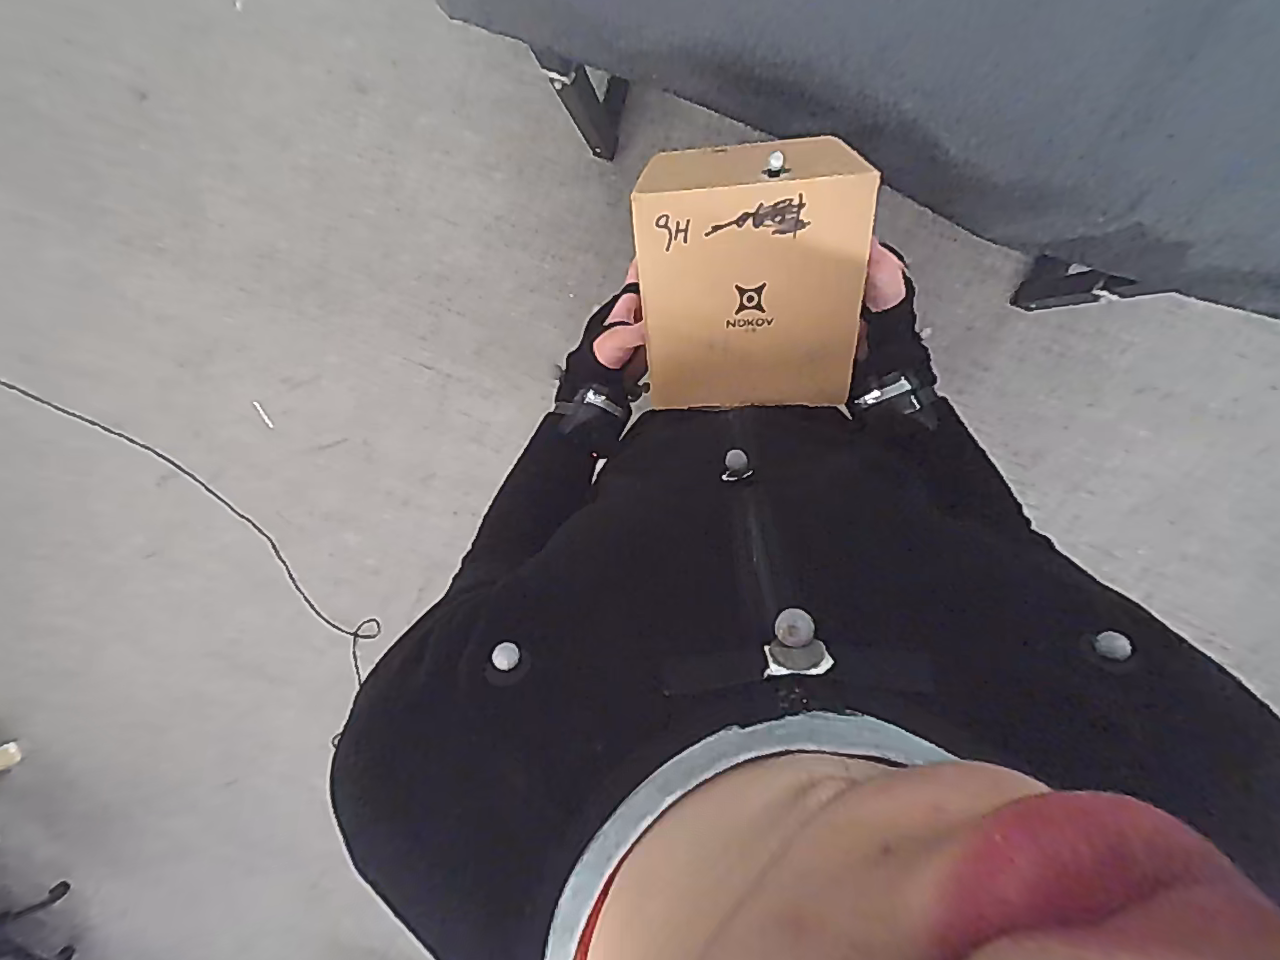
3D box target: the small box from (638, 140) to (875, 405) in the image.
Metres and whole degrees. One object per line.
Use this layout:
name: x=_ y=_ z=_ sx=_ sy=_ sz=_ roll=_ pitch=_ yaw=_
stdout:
small box: x=0.094 y=-0.186 z=0.488 sx=0.168 sy=0.176 sz=0.179 roll=-1 pitch=130 yaw=7
